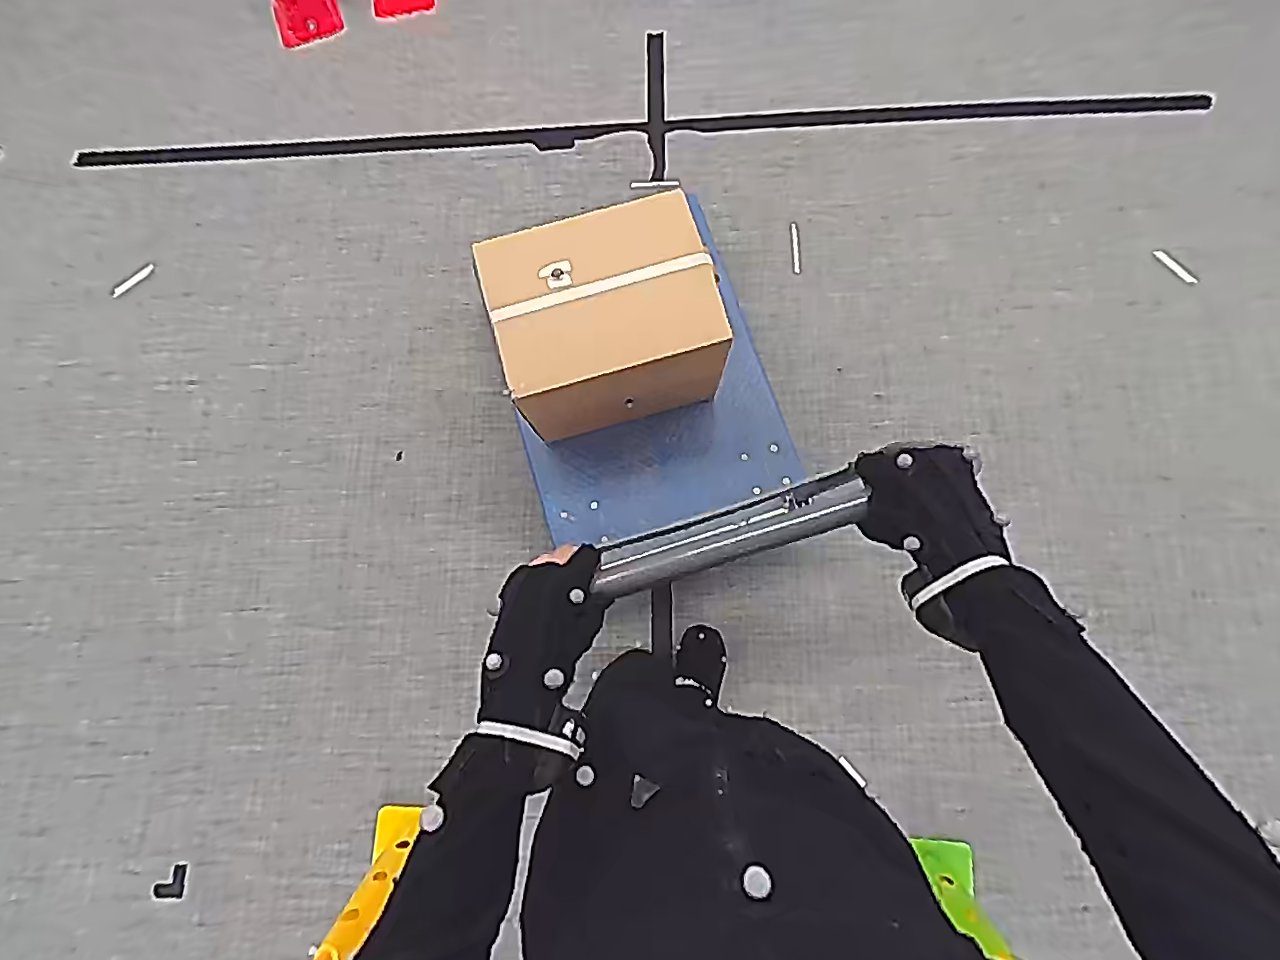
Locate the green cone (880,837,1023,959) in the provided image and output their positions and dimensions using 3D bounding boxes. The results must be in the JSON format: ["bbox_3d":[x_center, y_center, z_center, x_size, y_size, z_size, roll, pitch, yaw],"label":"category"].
[{"bbox_3d":[0.626,0.863,1.015,0.202,0.368,0.200,3,78,1],"label":"green cone"}]

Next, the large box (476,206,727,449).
[{"bbox_3d":[-0.069,-0.292,1.131,0.408,0.320,0.320,-16,79,-1],"label":"large box"}]
